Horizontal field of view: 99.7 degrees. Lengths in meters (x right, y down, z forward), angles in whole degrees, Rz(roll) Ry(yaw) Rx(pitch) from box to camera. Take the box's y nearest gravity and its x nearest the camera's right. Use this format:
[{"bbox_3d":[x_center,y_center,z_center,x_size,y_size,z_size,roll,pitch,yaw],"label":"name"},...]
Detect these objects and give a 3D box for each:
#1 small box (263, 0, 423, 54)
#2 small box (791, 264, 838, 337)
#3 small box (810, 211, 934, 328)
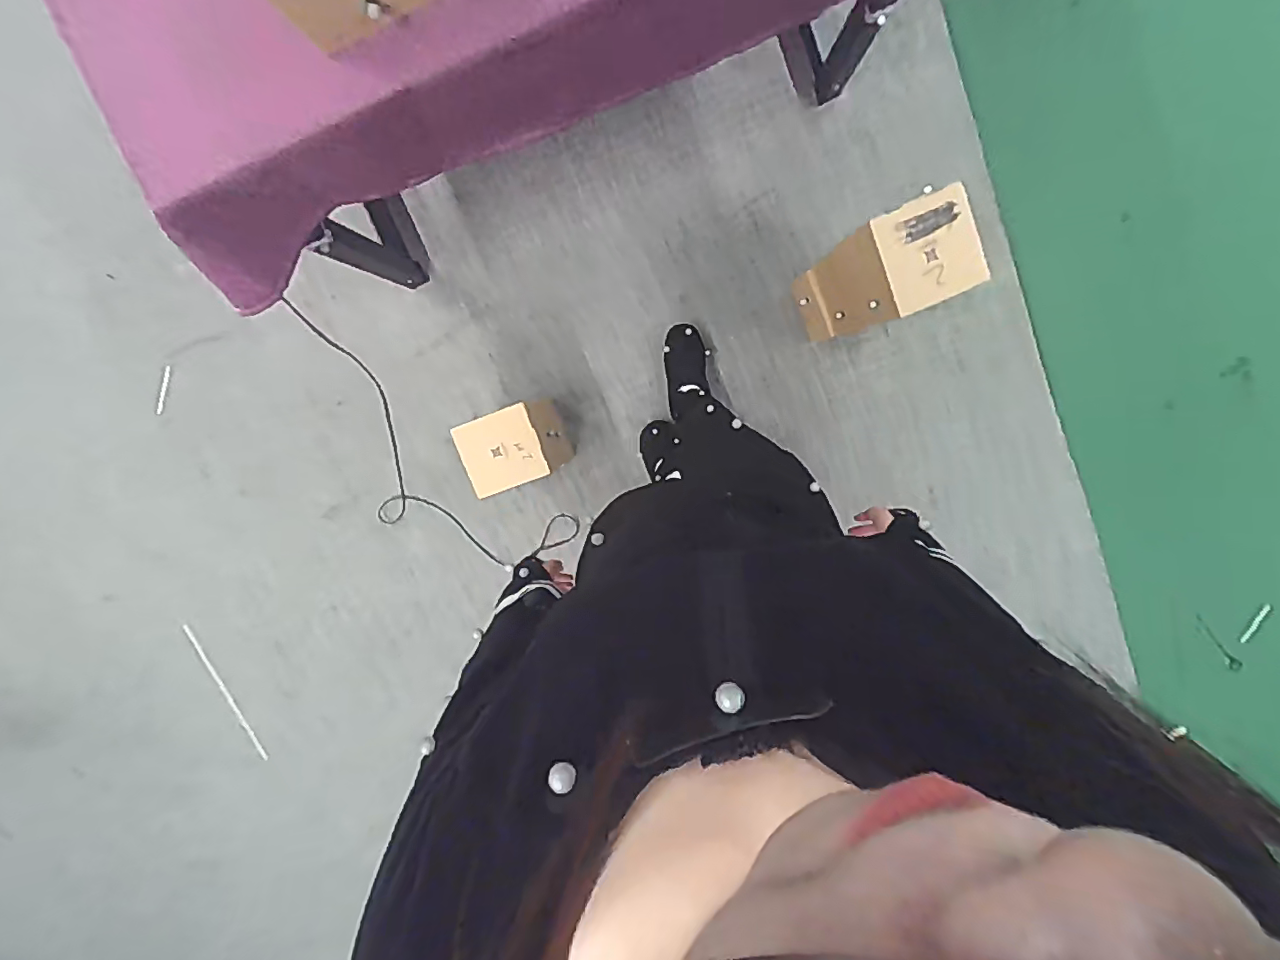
[{"bbox_3d":[-0.351,-0.614,0.571,0.179,0.176,0.168,-24,98,5],"label":"small box"},{"bbox_3d":[0.484,-0.461,1.320,0.179,0.176,0.168,-24,99,5],"label":"small box"},{"bbox_3d":[0.488,-0.437,1.159,0.168,0.176,0.179,-22,99,3],"label":"small box"}]
